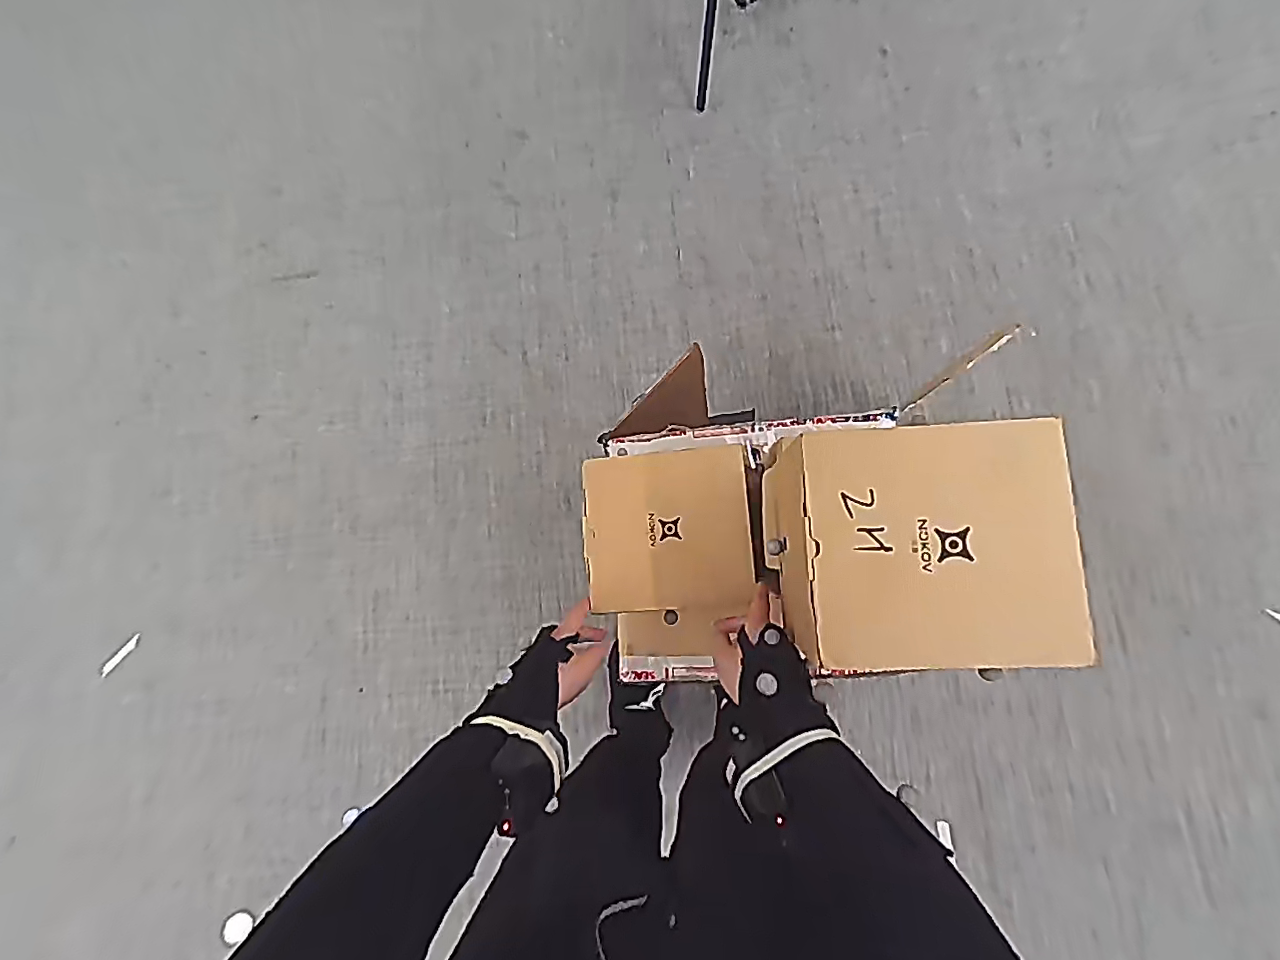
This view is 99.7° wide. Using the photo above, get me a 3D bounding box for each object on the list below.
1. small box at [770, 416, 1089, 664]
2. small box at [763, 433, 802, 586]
[{"bbox_3d":[0.209,0.049,0.444,0.179,0.176,0.168,-3,83,7],"label":"small box"},{"bbox_3d":[0.233,0.043,0.609,0.179,0.176,0.168,0,83,7],"label":"small box"}]
